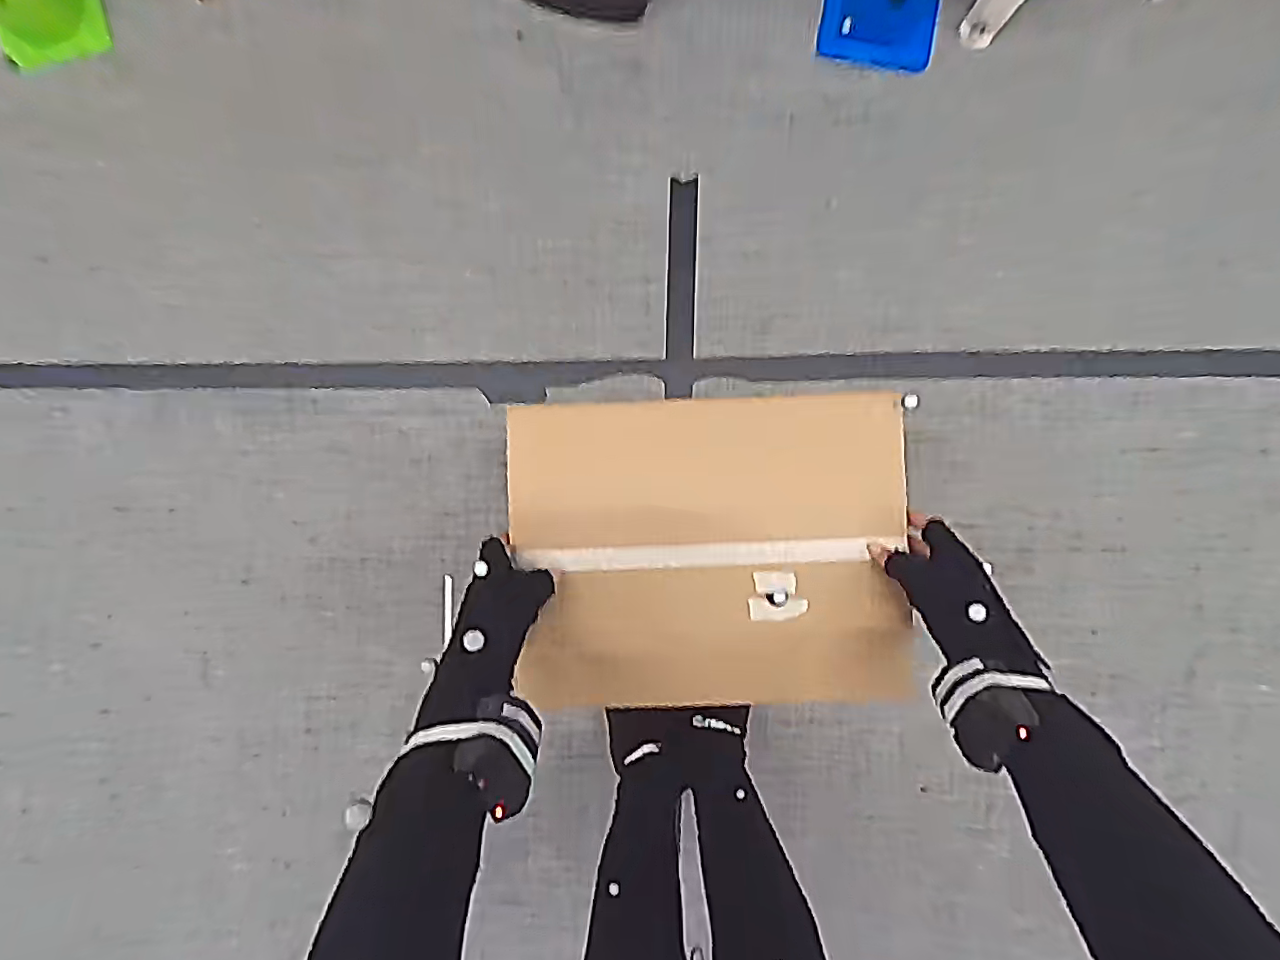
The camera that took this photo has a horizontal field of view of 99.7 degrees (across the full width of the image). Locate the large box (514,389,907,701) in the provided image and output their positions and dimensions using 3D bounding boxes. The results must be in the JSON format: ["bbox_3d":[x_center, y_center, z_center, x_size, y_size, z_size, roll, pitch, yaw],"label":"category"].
[{"bbox_3d":[0.073,0.070,0.714,0.408,0.320,0.320,-3,91,1],"label":"large box"}]
